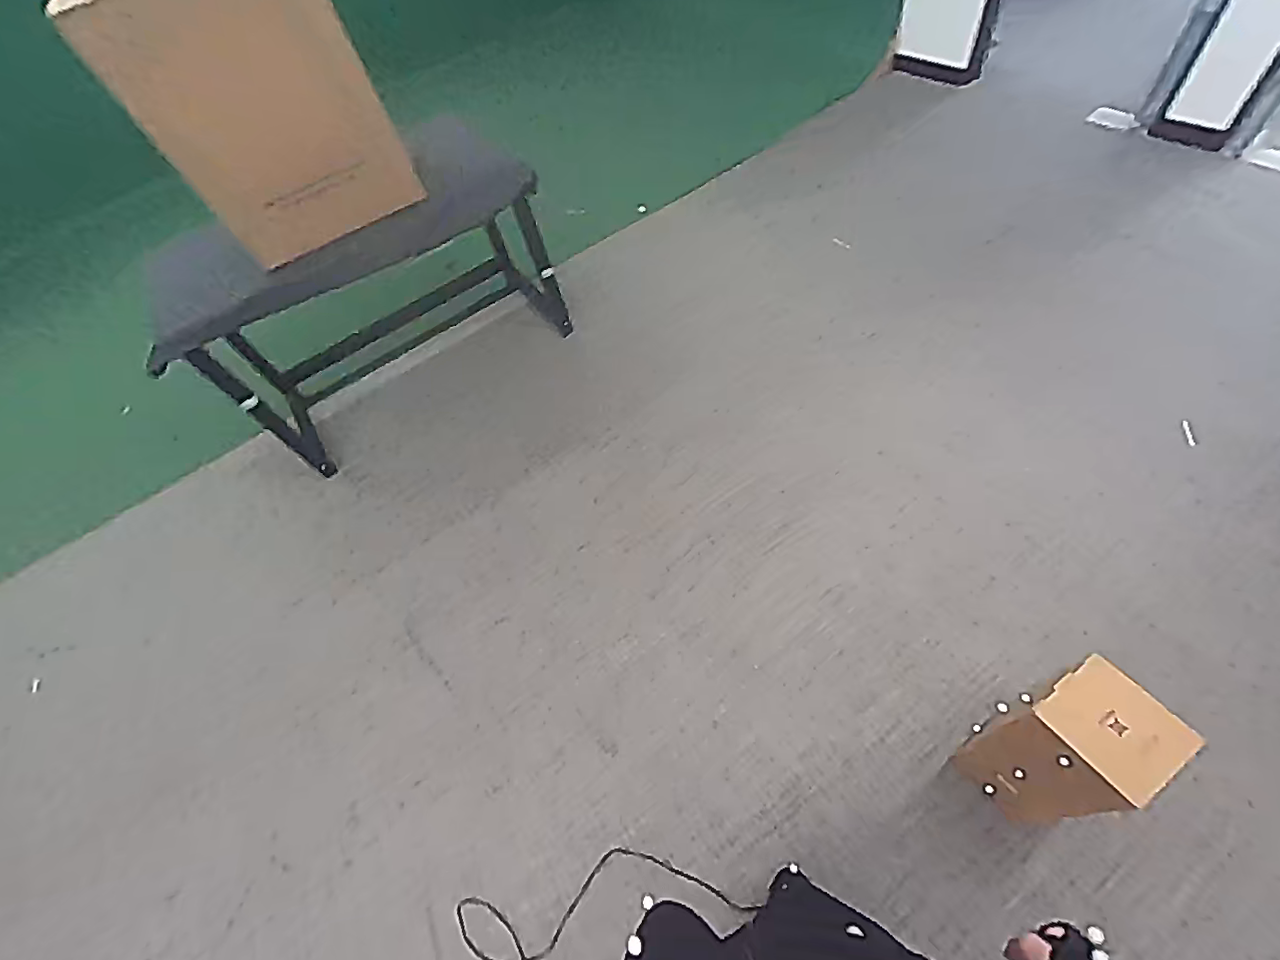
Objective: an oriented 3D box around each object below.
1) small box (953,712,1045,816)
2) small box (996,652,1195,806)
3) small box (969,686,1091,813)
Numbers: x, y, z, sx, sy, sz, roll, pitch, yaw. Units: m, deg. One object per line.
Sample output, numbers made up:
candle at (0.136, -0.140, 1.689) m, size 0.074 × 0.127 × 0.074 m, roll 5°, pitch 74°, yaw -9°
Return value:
small box at (0.837, 0.623, 1.208) m, size 0.179 × 0.176 × 0.168 m, roll -34°, pitch 58°, yaw -12°
small box at (0.774, 0.439, 0.945) m, size 0.168 × 0.176 × 0.179 m, roll -34°, pitch 59°, yaw -12°
small box at (0.806, 0.529, 1.075) m, size 0.168 × 0.176 × 0.179 m, roll -34°, pitch 57°, yaw -13°
